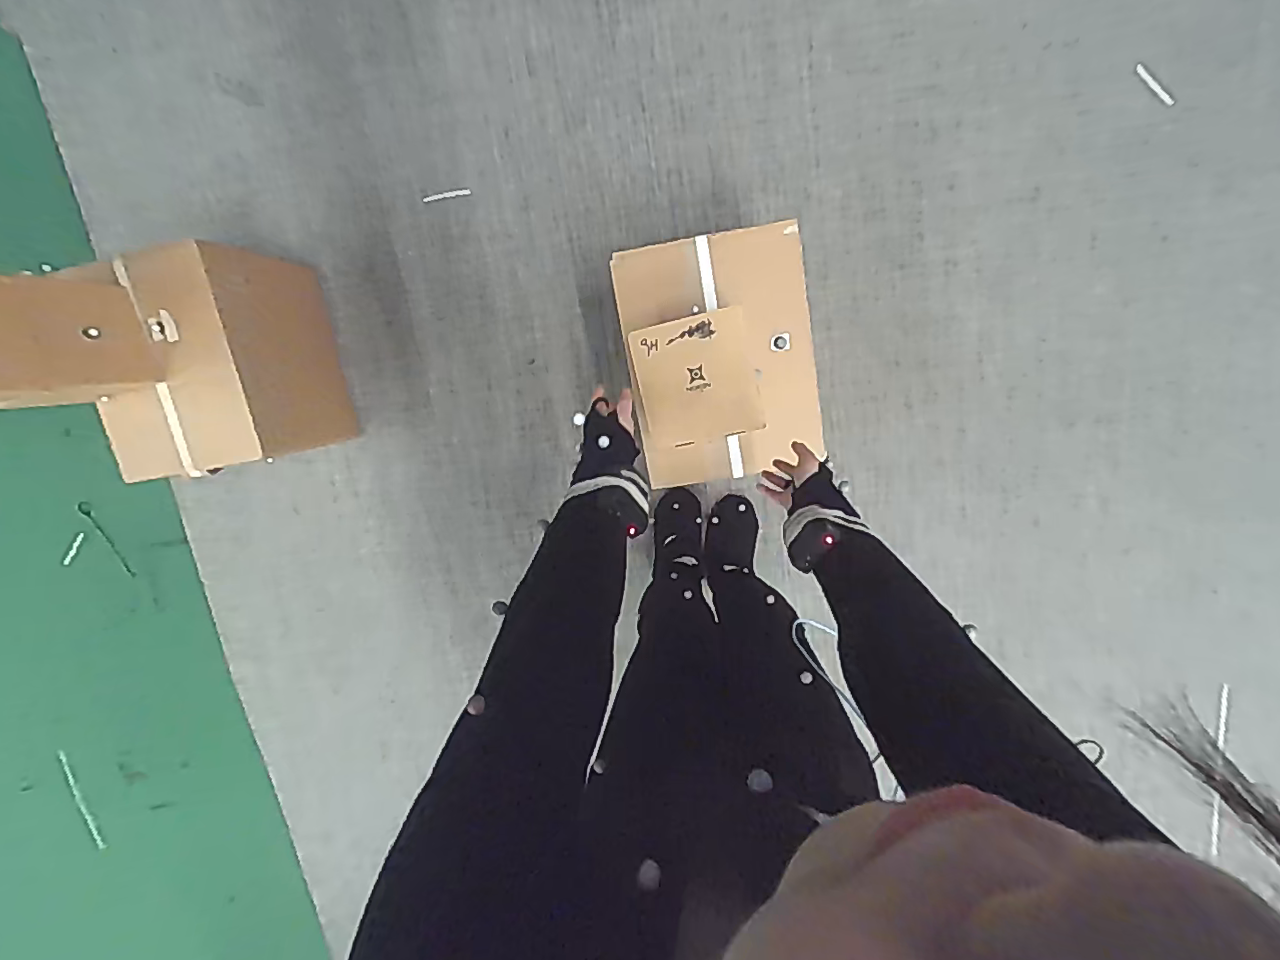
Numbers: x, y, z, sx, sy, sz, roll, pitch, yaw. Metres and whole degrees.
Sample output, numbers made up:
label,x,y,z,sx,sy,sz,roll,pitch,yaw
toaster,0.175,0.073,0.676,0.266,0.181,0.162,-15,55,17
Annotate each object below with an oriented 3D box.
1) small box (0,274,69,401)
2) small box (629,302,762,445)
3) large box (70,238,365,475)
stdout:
label,x,y,z,sx,sy,sz,roll,pitch,yaw
small box,-1.006,-0.205,0.778,0.168,0.176,0.179,-8,103,11
small box,0.091,-0.168,0.849,0.168,0.176,0.179,-12,102,10
large box,-0.871,-0.252,1.173,0.320,0.320,0.408,-8,101,8
